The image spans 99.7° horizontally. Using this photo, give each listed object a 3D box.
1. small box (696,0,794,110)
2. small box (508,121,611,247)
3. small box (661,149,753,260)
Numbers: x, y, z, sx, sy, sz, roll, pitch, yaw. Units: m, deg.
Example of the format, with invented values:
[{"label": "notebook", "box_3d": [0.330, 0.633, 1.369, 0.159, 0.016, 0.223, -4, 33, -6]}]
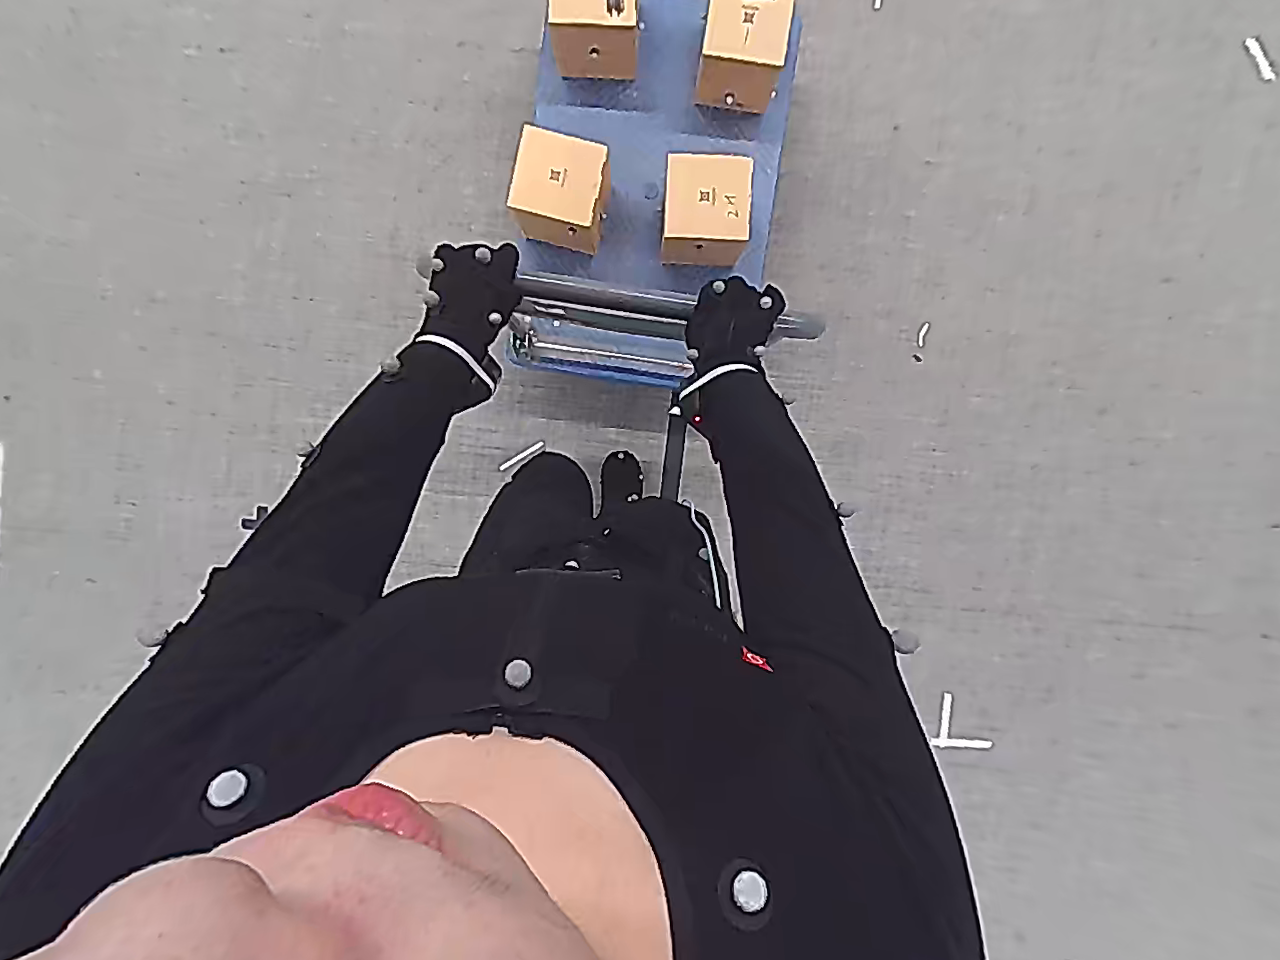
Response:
[{"label": "small box", "box_3d": [0.218, -0.934, 1.144, 0.168, 0.176, 0.179, 9, 96, -1]}, {"label": "small box", "box_3d": [-0.166, -0.629, 1.170, 0.179, 0.176, 0.168, 14, 94, -3]}, {"label": "small box", "box_3d": [0.138, -0.589, 1.175, 0.179, 0.176, 0.168, 3, 95, 0]}]
